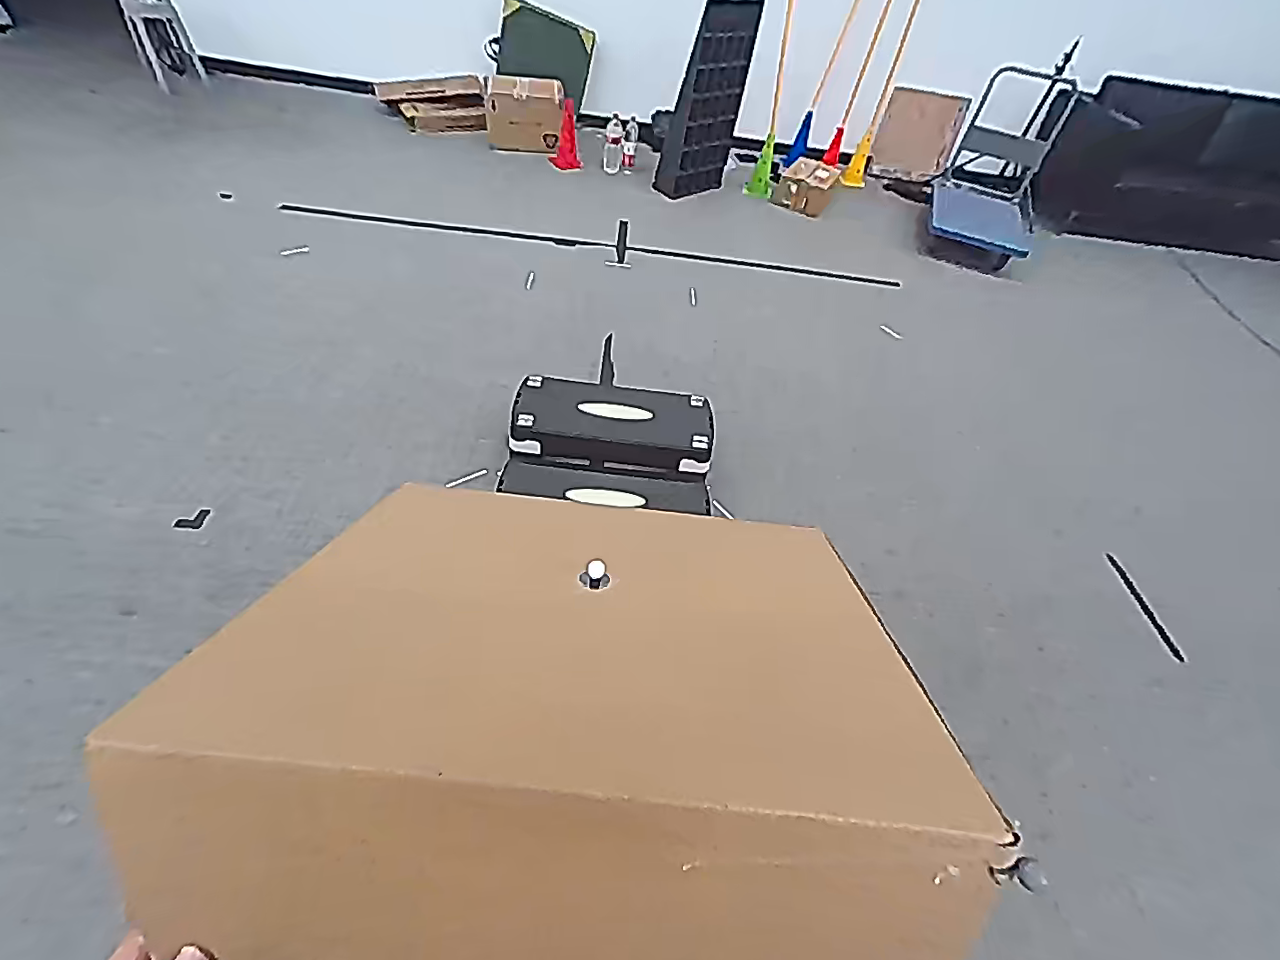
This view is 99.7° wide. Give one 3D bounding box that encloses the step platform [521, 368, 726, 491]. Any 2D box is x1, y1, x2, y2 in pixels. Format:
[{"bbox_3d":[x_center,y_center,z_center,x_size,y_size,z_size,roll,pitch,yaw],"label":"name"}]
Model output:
[{"bbox_3d":[-0.052,-0.178,1.852,0.684,0.204,0.286,11,48,-1],"label":"step platform"}]
